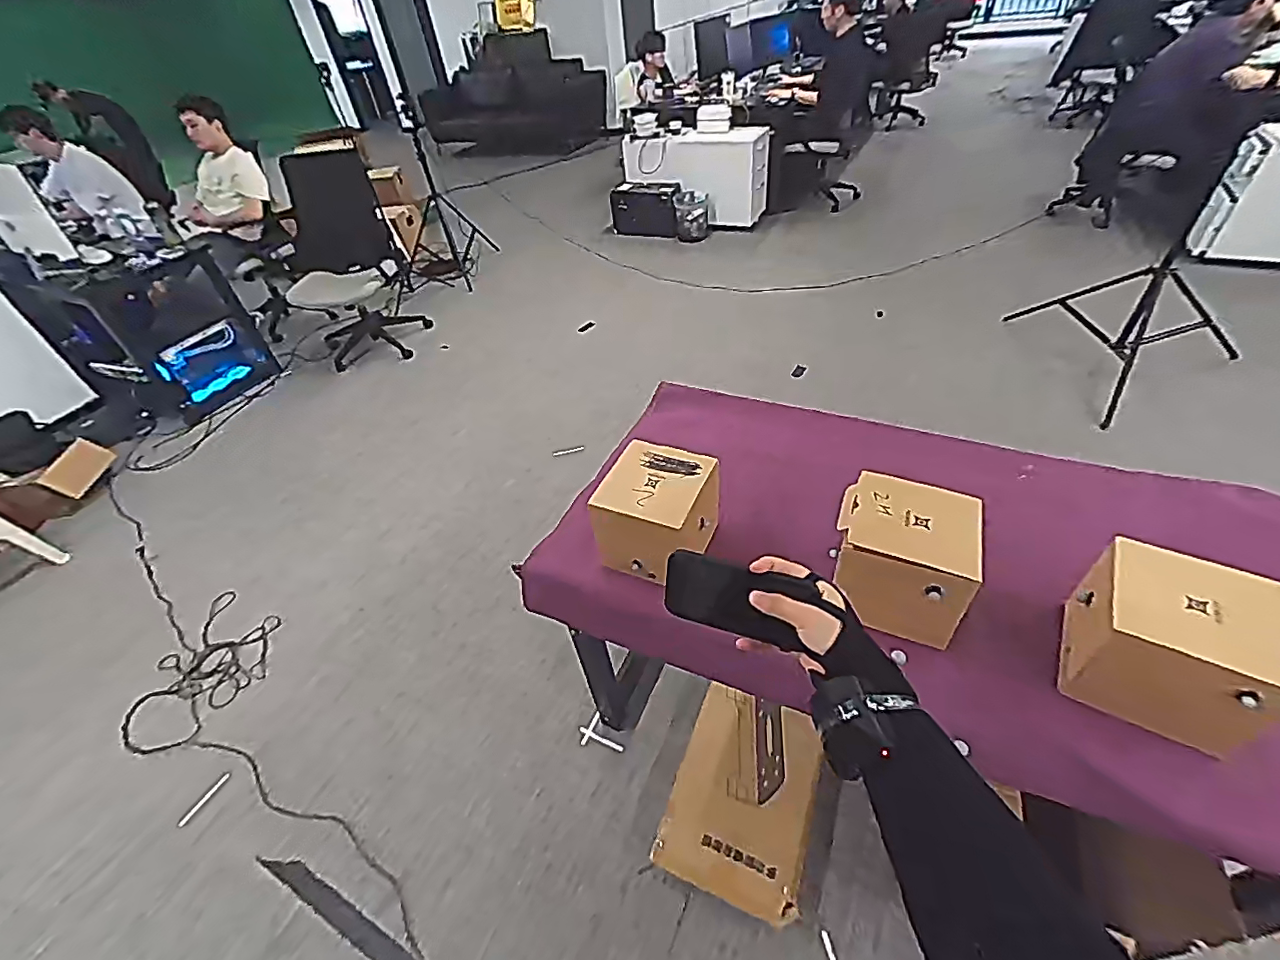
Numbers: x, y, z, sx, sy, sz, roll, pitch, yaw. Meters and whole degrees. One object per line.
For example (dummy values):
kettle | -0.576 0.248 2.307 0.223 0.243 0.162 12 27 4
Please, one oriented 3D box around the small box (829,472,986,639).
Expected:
small box | 0.405 0.117 0.830 0.179 0.176 0.168 13 45 21

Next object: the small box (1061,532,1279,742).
small box | 0.682 0.203 0.700 0.179 0.176 0.168 19 50 26
